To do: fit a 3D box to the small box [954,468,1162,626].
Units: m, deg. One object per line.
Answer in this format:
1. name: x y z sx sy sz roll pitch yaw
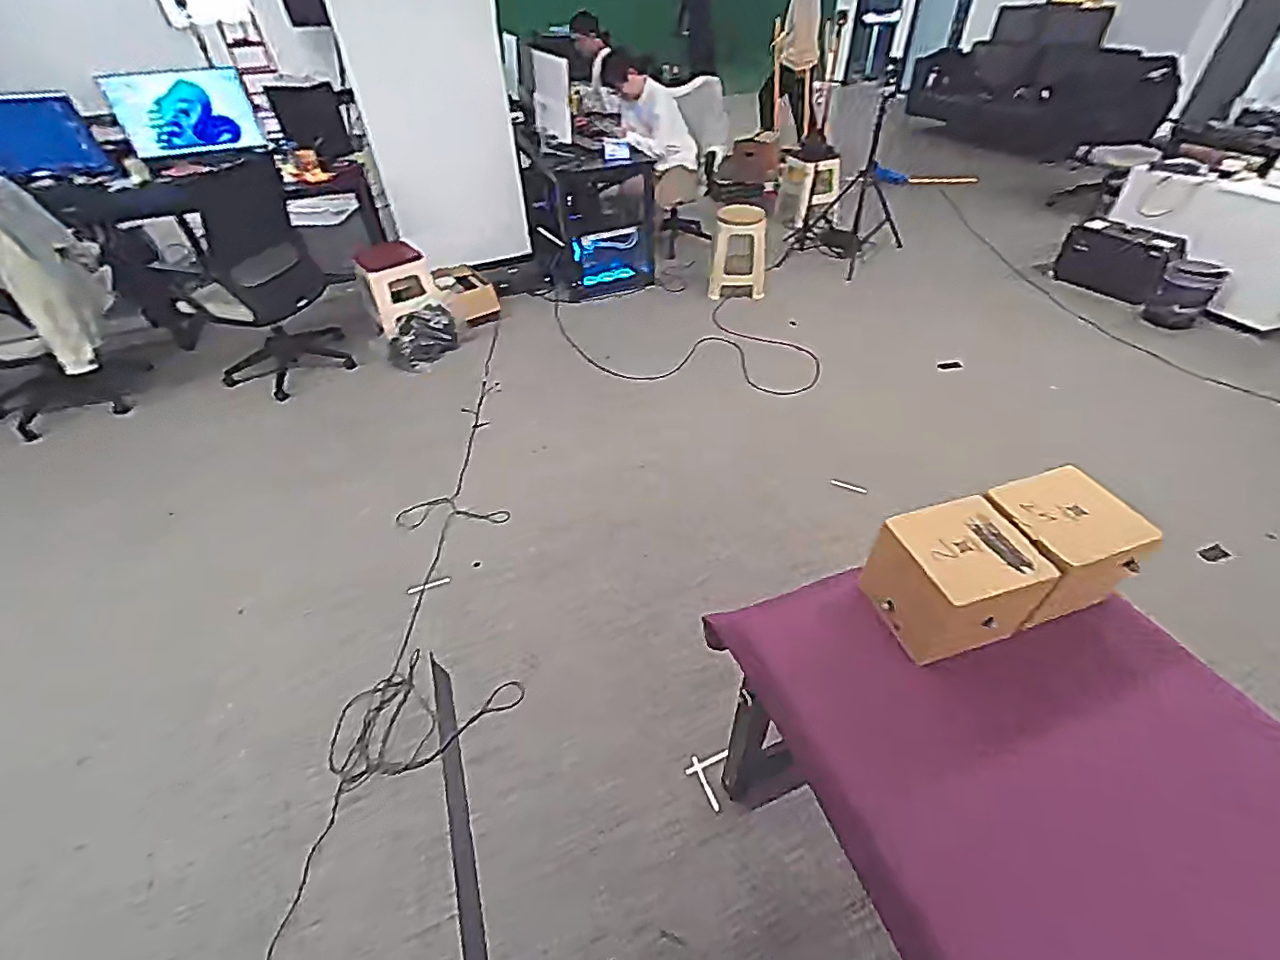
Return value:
1. small box: 0.661 0.110 0.882 0.179 0.176 0.168 -14 45 -11
